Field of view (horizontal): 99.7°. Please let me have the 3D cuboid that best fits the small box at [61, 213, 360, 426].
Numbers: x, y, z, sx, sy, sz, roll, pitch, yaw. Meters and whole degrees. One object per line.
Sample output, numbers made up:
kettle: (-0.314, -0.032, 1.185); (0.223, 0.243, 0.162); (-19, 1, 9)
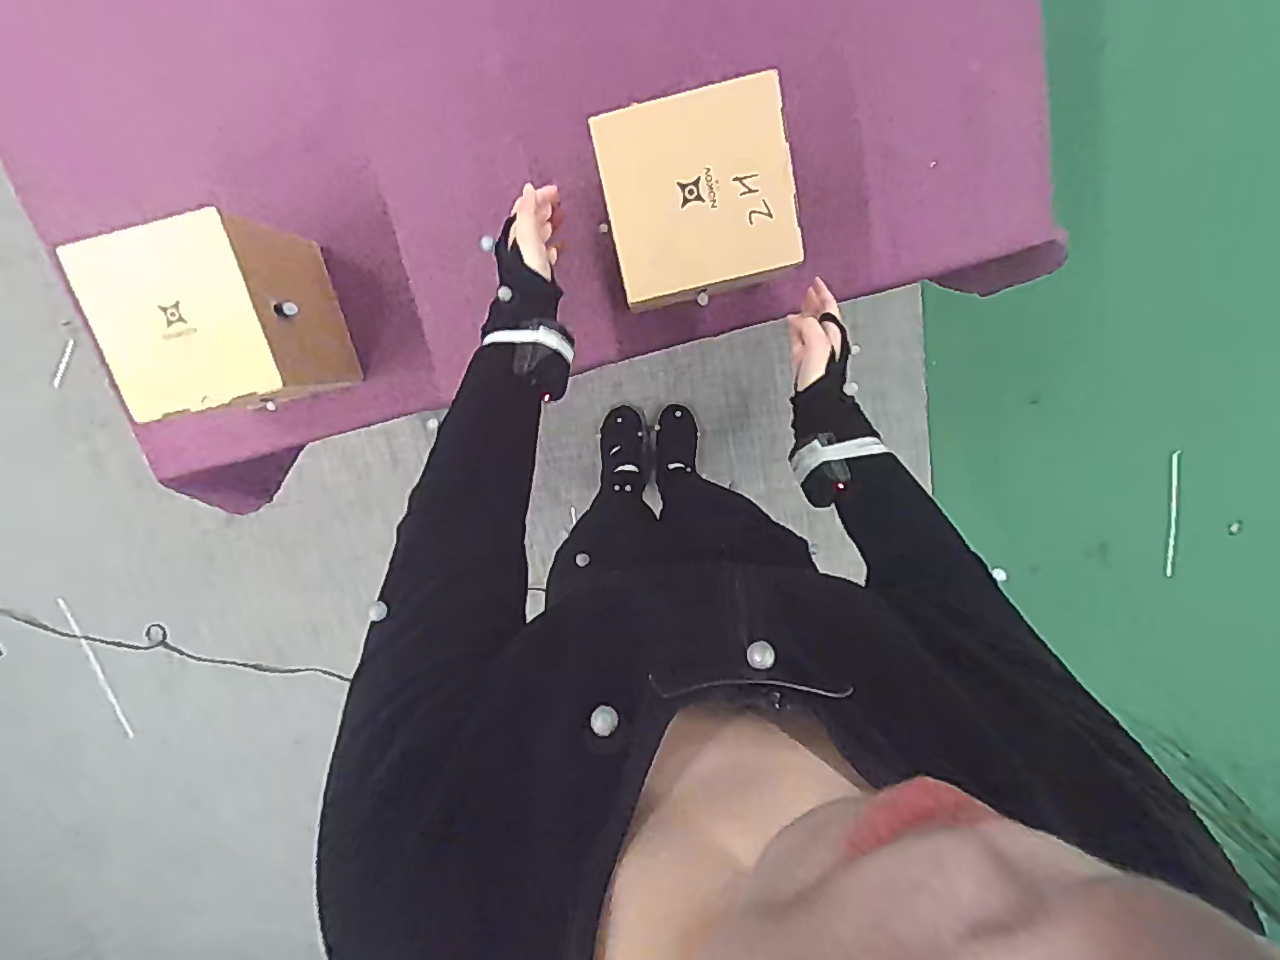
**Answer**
small box: (-0.454, -0.171, 0.608); (0.168, 0.176, 0.179); (-13, 104, 3)
